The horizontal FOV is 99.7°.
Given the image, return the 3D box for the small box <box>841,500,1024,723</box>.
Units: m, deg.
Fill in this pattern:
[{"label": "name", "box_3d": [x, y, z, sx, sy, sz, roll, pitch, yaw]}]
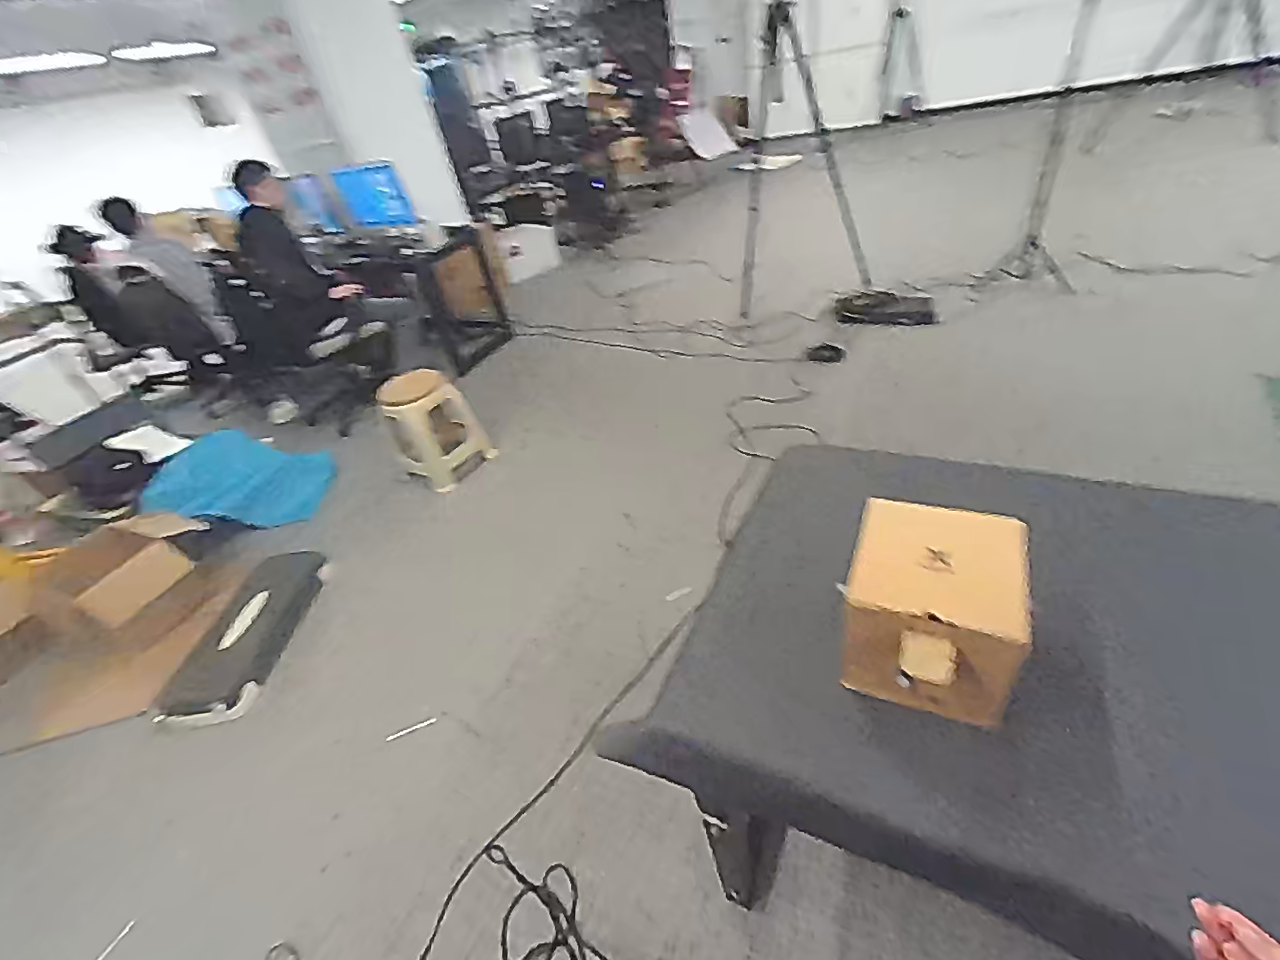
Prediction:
[{"label": "small box", "box_3d": [0.344, 0.153, 0.654, 0.168, 0.176, 0.179, 9, 43, 26]}]
